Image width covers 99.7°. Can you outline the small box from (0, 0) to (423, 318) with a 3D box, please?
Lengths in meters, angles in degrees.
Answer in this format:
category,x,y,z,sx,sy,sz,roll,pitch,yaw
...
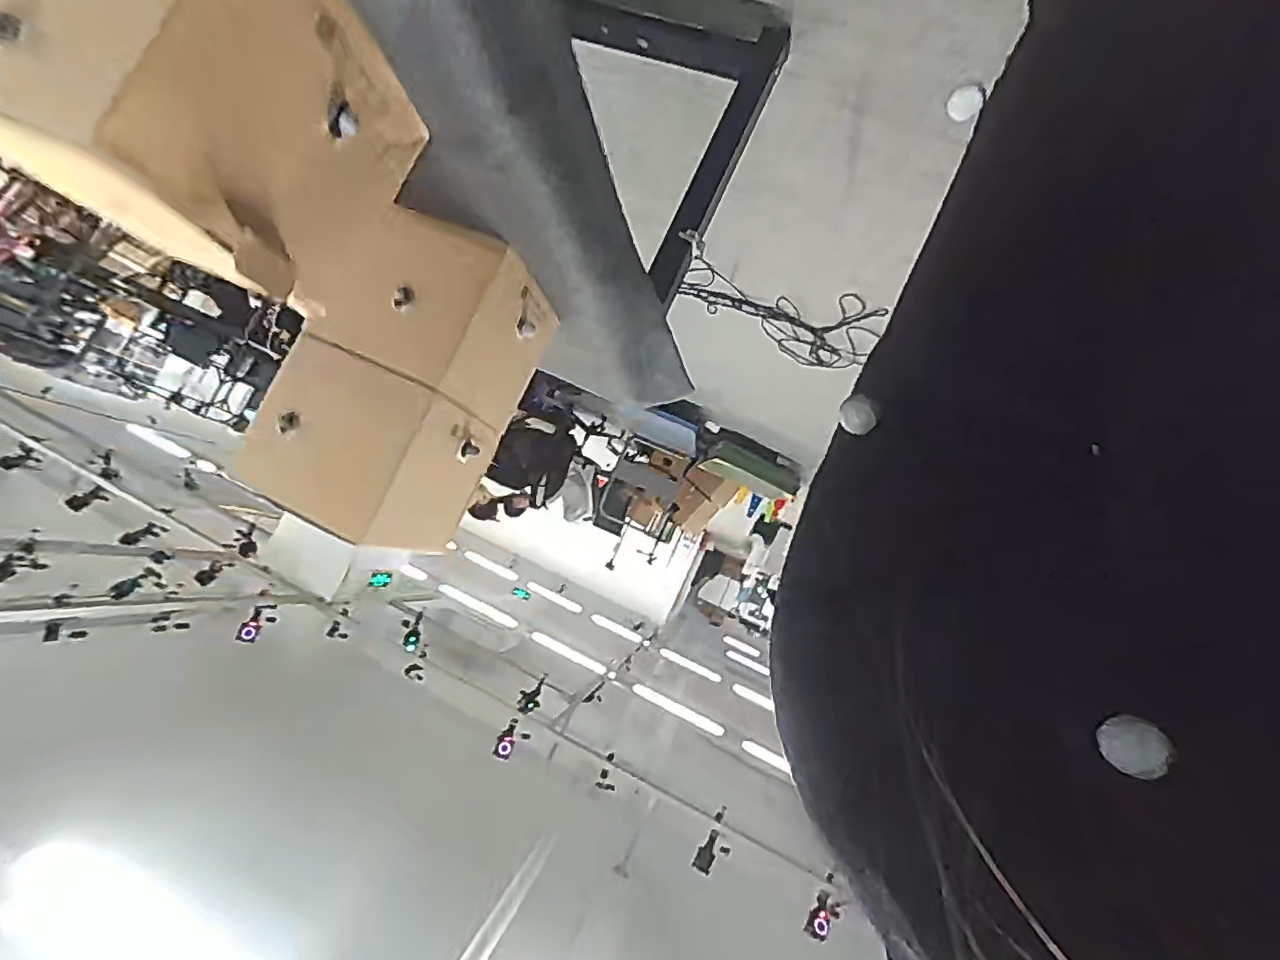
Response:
category,x,y,z,sx,sy,sz,roll,pitch,yaw
small box,-0.278,-0.239,0.342,0.179,0.176,0.168,23,173,9

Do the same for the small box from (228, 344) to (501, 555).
category,x,y,z,sx,sy,sz,roll,pitch,yaw
small box,-0.290,-0.030,0.605,0.179,0.176,0.168,23,174,13

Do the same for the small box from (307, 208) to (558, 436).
category,x,y,z,sx,sy,sz,roll,pitch,yaw
small box,-0.223,-0.177,0.623,0.179,0.176,0.168,23,174,13
